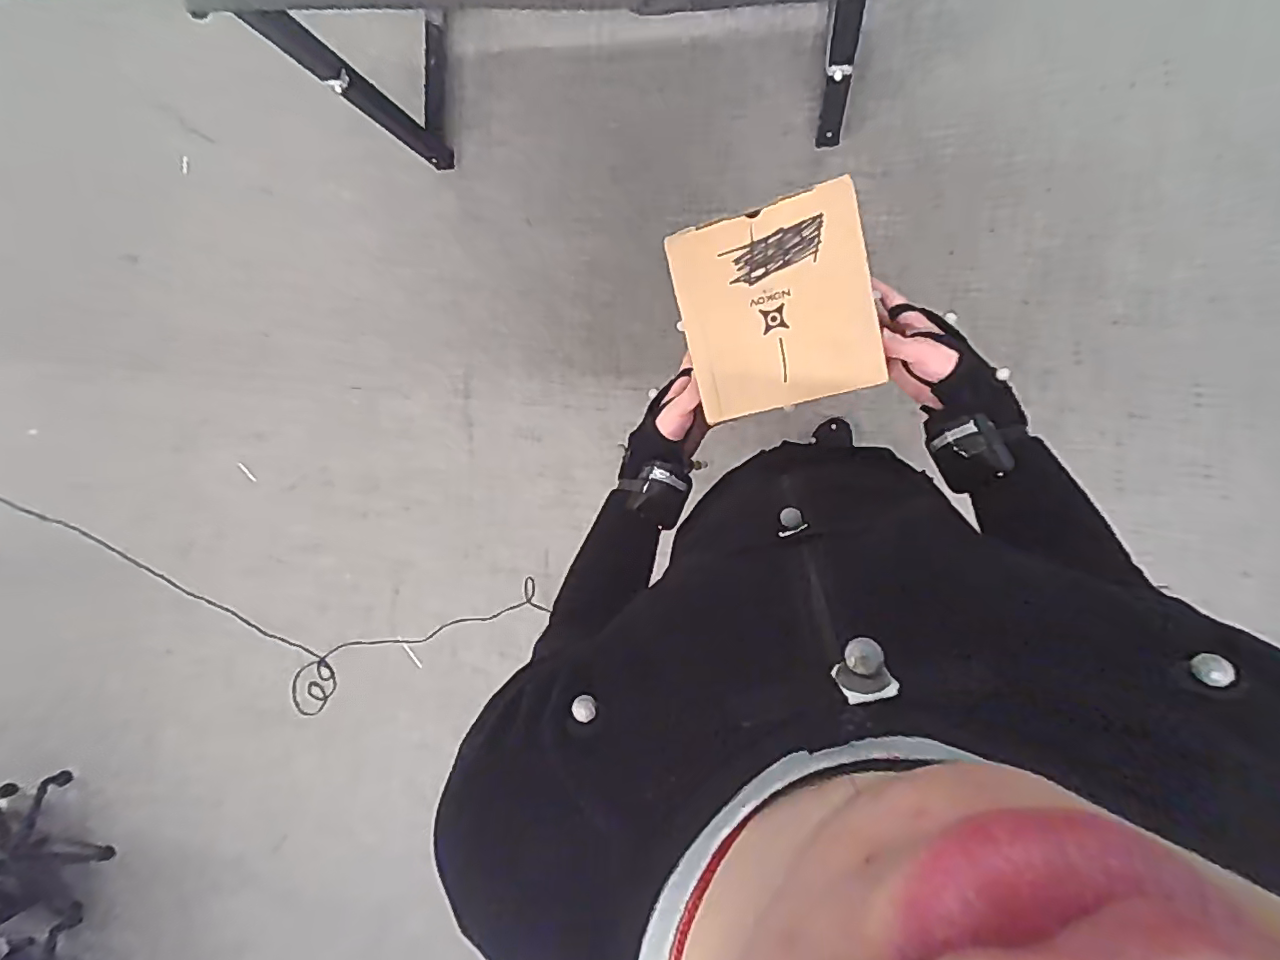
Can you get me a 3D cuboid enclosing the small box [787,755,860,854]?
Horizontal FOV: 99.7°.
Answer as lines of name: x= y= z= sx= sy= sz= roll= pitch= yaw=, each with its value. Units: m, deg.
small box: x=0.501 y=0.885 z=1.493 sx=0.168 sy=0.176 sz=0.179 roll=-8 pitch=95 yaw=16
